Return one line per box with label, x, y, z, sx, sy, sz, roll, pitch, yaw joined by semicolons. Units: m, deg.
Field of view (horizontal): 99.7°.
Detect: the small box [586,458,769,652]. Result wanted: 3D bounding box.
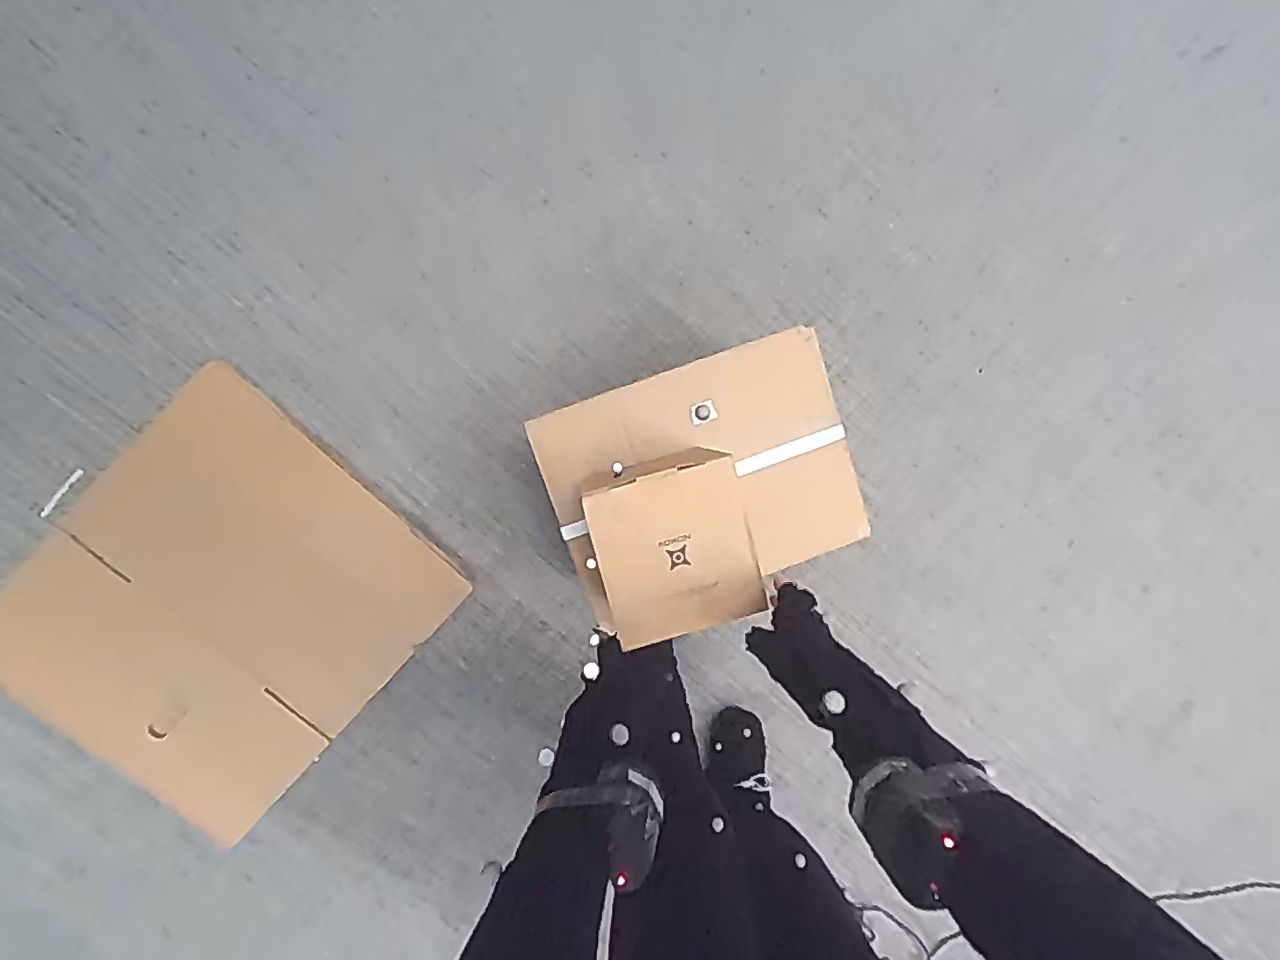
small box;0.035;0.075;0.655;0.168;0.176;0.179;-16;97;-2
